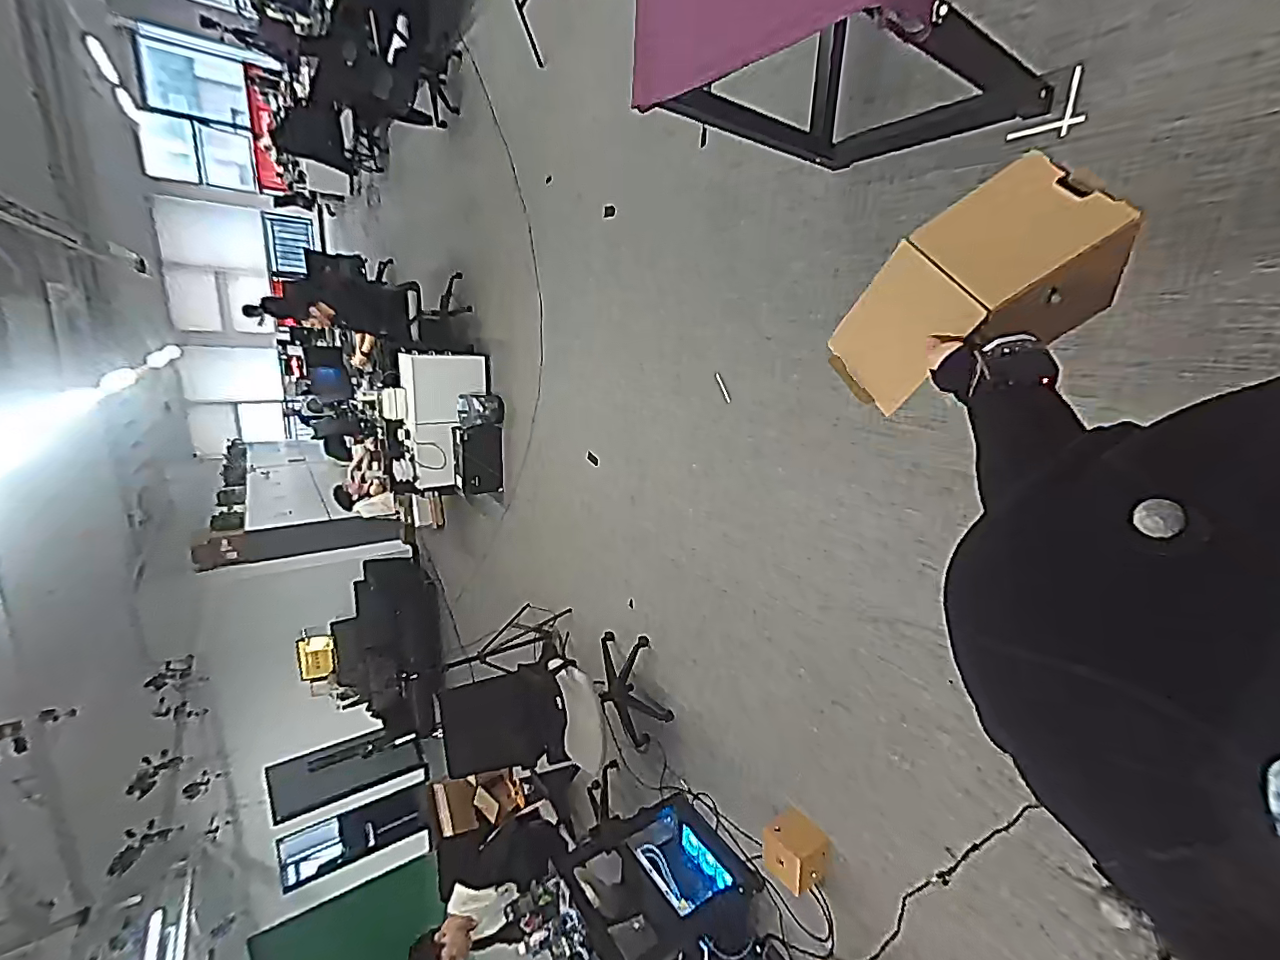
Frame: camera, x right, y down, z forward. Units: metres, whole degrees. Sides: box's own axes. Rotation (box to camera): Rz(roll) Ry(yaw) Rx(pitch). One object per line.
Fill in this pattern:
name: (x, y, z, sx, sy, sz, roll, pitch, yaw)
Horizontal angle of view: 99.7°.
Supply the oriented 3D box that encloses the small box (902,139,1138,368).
small box: (0.474, -0.279, 0.700, 0.179, 0.176, 0.168, -34, 57, 15)
